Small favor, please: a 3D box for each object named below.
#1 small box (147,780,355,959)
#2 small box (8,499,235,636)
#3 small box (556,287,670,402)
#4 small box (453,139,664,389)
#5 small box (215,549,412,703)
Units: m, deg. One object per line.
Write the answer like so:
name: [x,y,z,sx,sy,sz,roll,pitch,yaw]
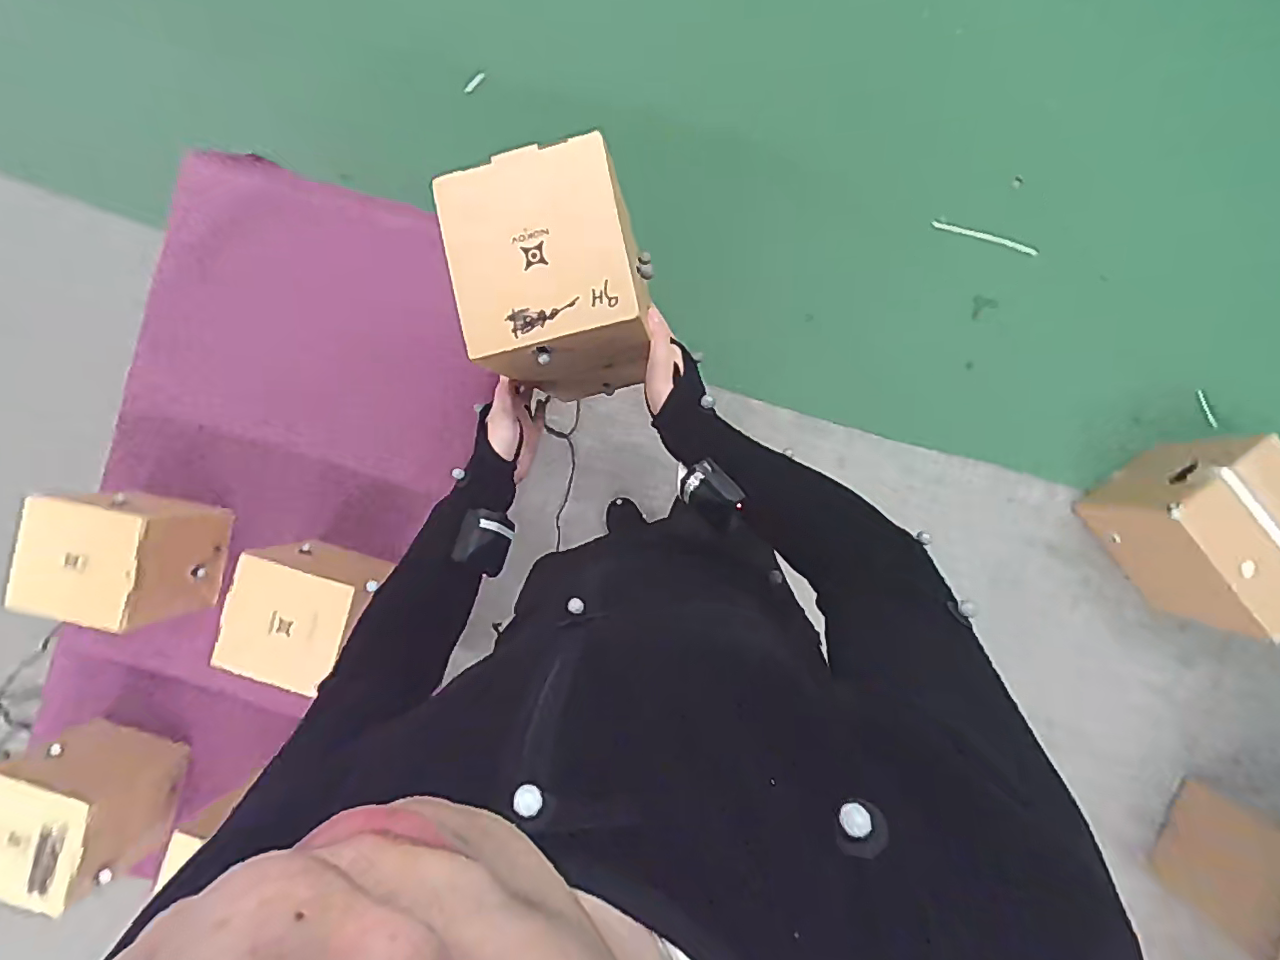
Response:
small box: [-0.578,0.600,0.830,0.179,0.176,0.168,18,90,3]
small box: [-0.789,0.126,0.841,0.179,0.176,0.168,11,89,0]
small box: [-0.057,-0.217,0.735,0.168,0.176,0.179,-12,89,7]
small box: [-0.073,-0.208,0.572,0.168,0.176,0.179,-11,89,7]
small box: [-0.488,0.210,0.833,0.179,0.176,0.168,16,91,2]
